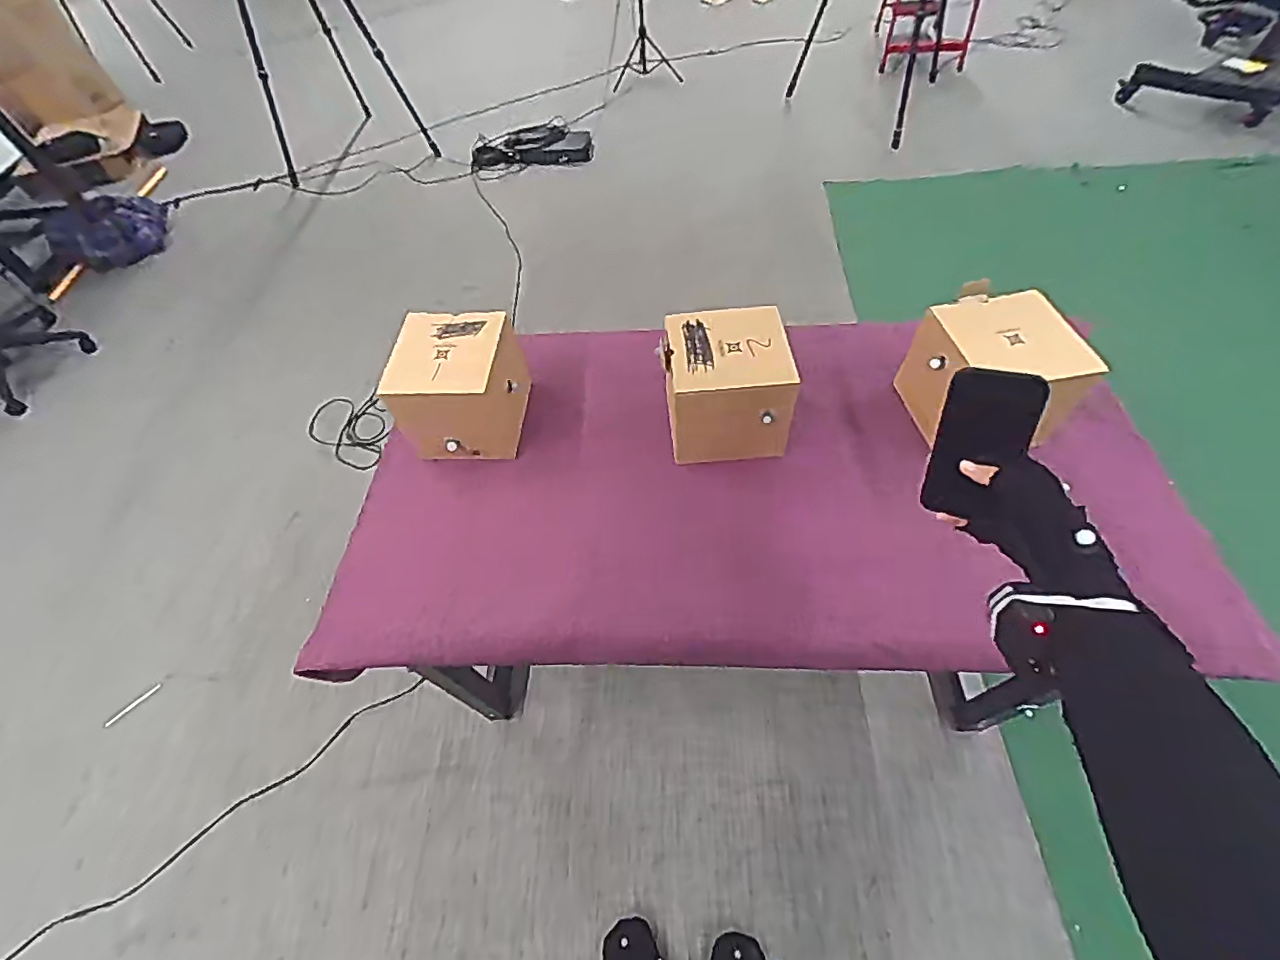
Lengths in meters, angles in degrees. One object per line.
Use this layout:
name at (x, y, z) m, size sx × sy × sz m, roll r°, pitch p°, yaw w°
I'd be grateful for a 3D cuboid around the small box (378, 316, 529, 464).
small box at (-0.289, -0.146, 0.884) m, size 0.168 × 0.176 × 0.179 m, roll 0°, pitch 57°, yaw 5°

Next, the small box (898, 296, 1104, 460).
small box at (0.523, -0.145, 0.816) m, size 0.168 × 0.176 × 0.179 m, roll -9°, pitch 55°, yaw -1°
